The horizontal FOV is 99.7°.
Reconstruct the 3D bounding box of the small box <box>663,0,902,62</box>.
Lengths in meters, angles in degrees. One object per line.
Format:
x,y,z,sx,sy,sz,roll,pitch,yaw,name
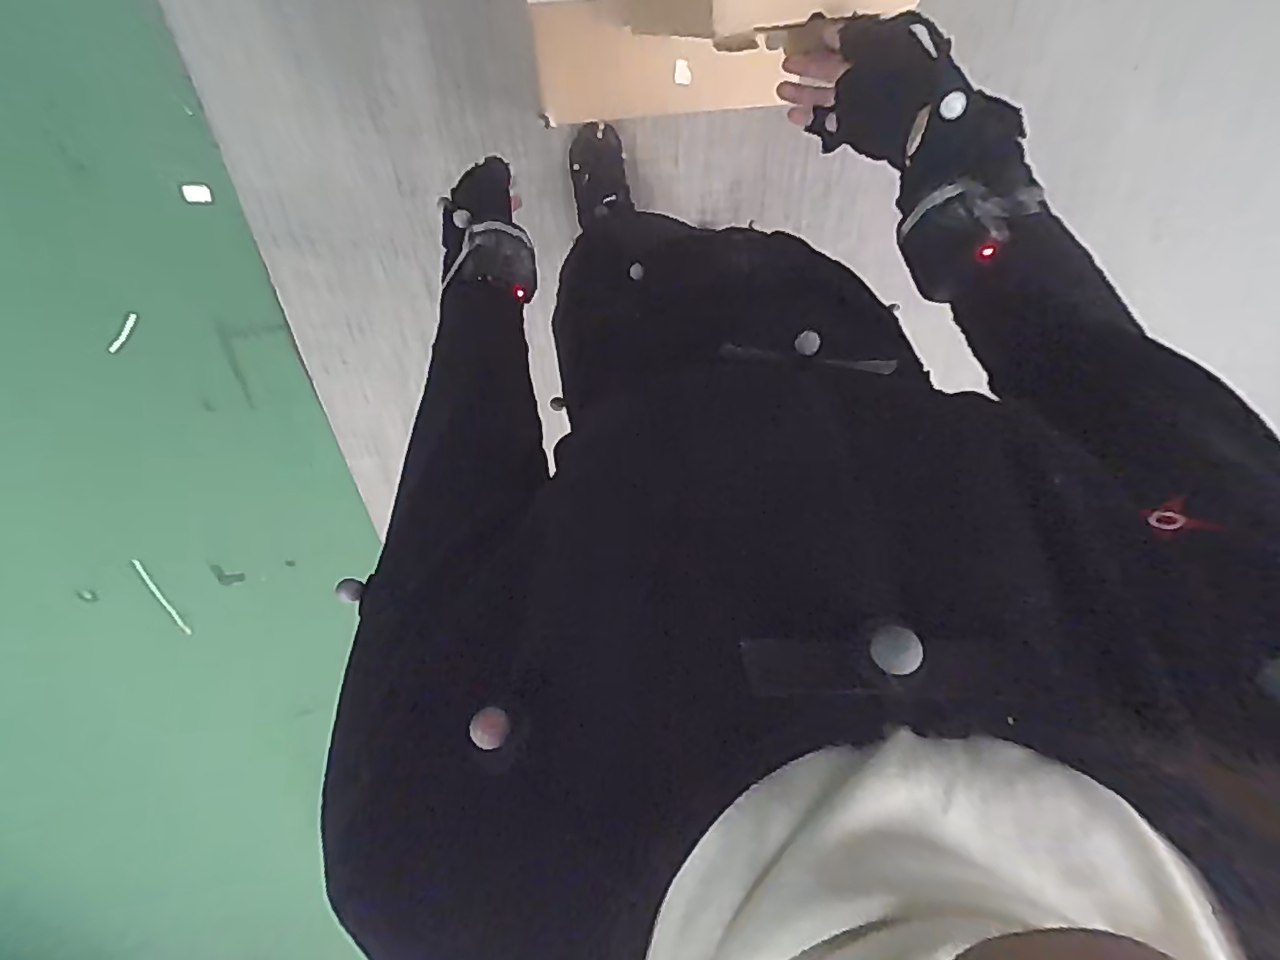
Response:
0.109,-0.462,0.438,0.168,0.176,0.179,-10,131,-3,small box
